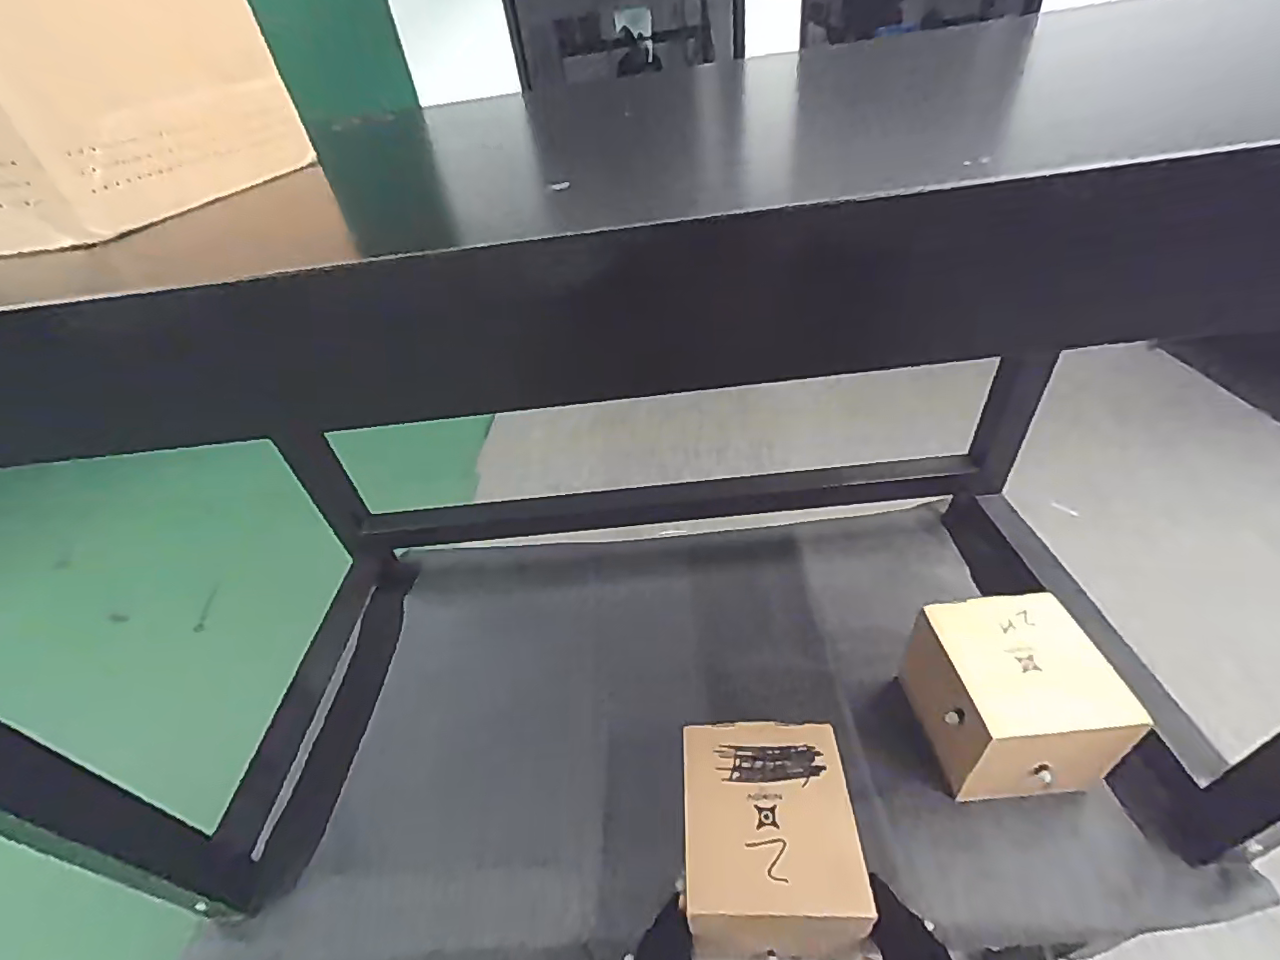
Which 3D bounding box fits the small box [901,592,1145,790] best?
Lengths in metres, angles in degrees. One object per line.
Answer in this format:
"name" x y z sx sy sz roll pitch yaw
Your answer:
"small box" 0.456 0.269 0.682 0.168 0.176 0.179 -6 39 2
